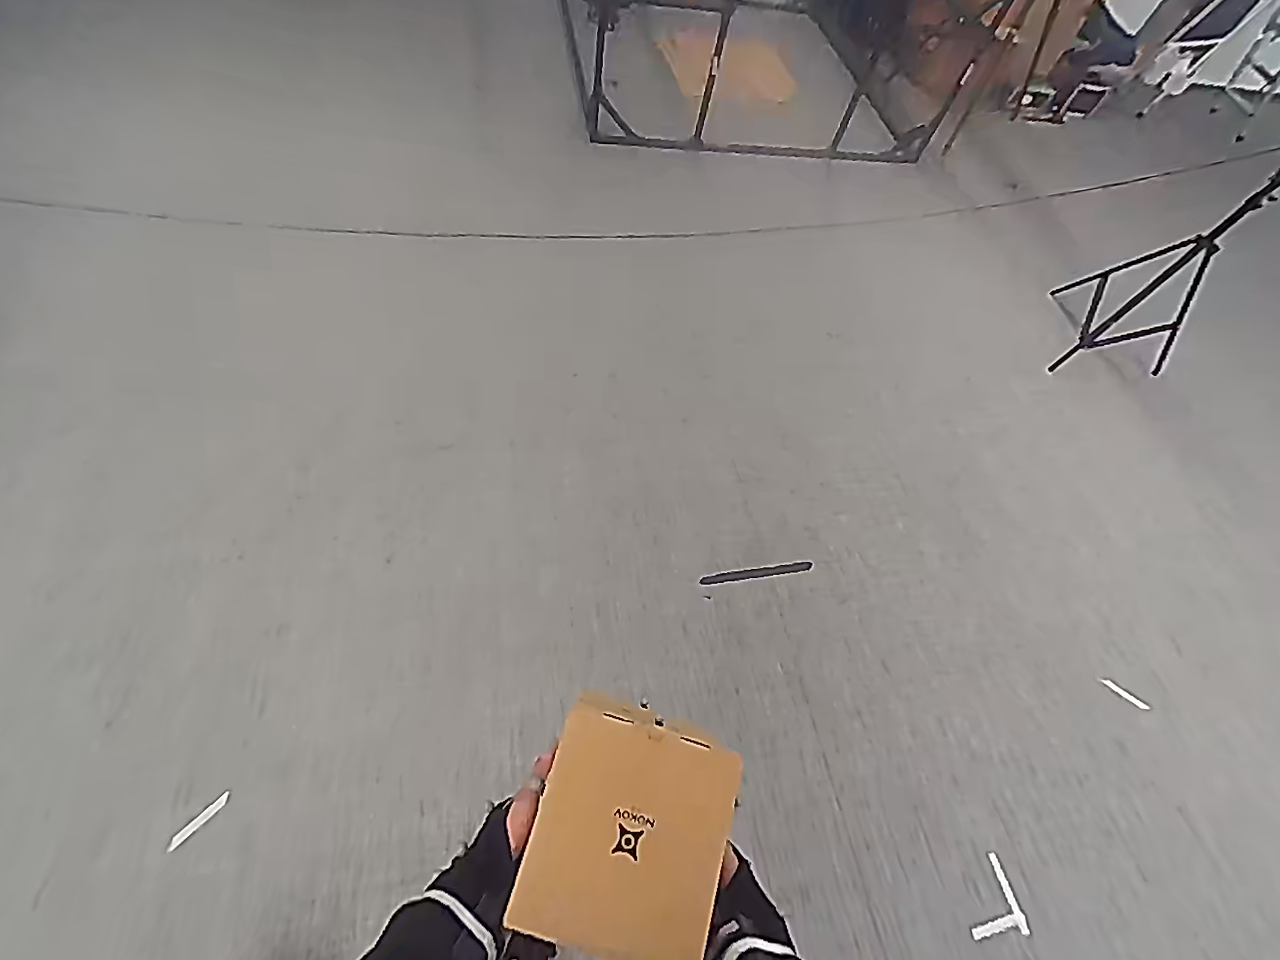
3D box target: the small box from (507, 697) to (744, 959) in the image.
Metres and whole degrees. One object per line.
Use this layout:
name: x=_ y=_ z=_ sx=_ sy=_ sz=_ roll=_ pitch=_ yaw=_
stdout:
small box: x=-0.012 y=0.328 z=0.535 sx=0.168 sy=0.176 sz=0.179 roll=17 pitch=69 yaw=1
